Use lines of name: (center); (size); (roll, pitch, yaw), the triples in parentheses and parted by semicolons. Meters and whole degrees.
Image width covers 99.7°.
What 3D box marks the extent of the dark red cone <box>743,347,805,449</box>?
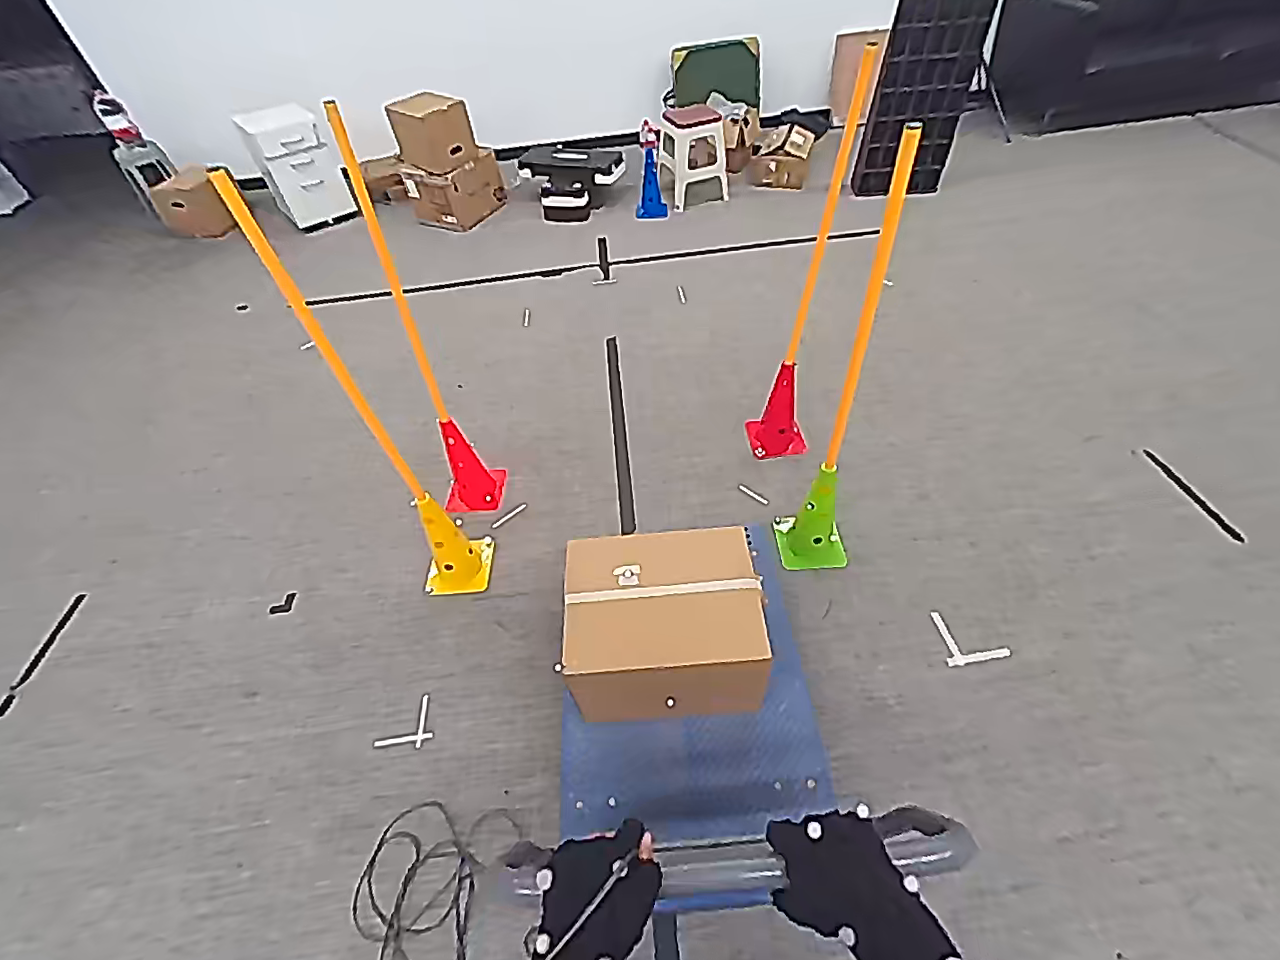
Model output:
dark red cone: (0.500, -0.297, 1.923); (0.201, 0.394, 0.202); (-6, 49, -2)

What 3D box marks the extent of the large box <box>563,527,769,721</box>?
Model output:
large box: (0.054, 0.338, 1.241); (0.408, 0.320, 0.320); (-6, 49, 2)

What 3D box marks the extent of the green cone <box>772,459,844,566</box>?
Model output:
green cone: (0.530, 0.078, 1.615); (0.202, 0.368, 0.200); (-3, 49, 1)

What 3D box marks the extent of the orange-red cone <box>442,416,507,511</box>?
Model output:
orange-red cone: (-0.612, -0.078, 1.866); (0.198, 0.360, 0.199); (-1, 47, 4)
